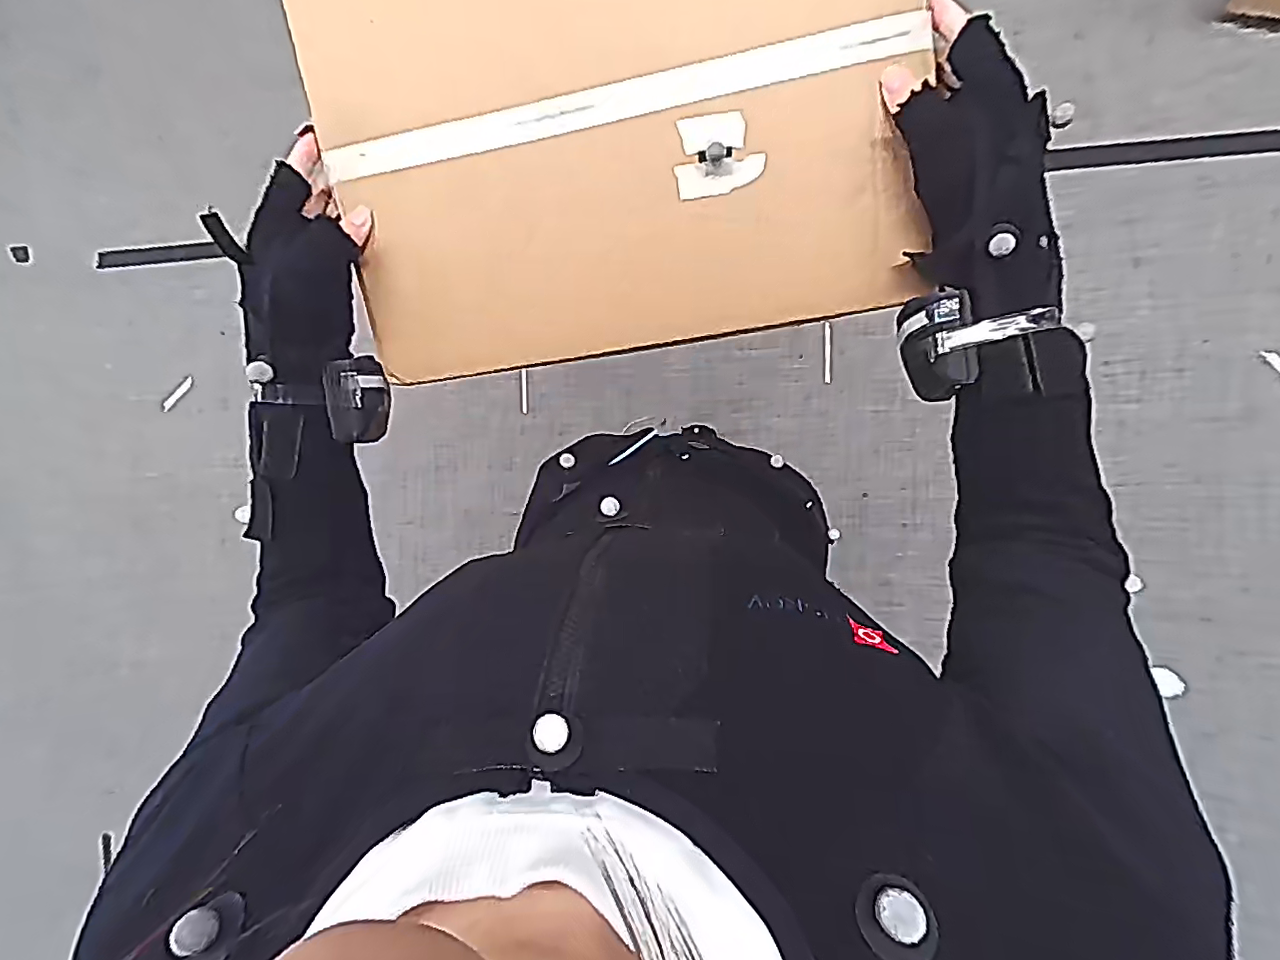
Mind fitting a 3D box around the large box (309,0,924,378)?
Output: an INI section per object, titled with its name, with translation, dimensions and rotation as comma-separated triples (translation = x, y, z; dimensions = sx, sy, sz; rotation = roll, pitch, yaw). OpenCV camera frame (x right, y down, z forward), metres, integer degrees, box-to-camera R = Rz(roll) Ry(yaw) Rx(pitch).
[large box]
translation = -0.005, -0.291, 0.518
dimensions = 0.408, 0.320, 0.320
rotation = -8, 104, 7
